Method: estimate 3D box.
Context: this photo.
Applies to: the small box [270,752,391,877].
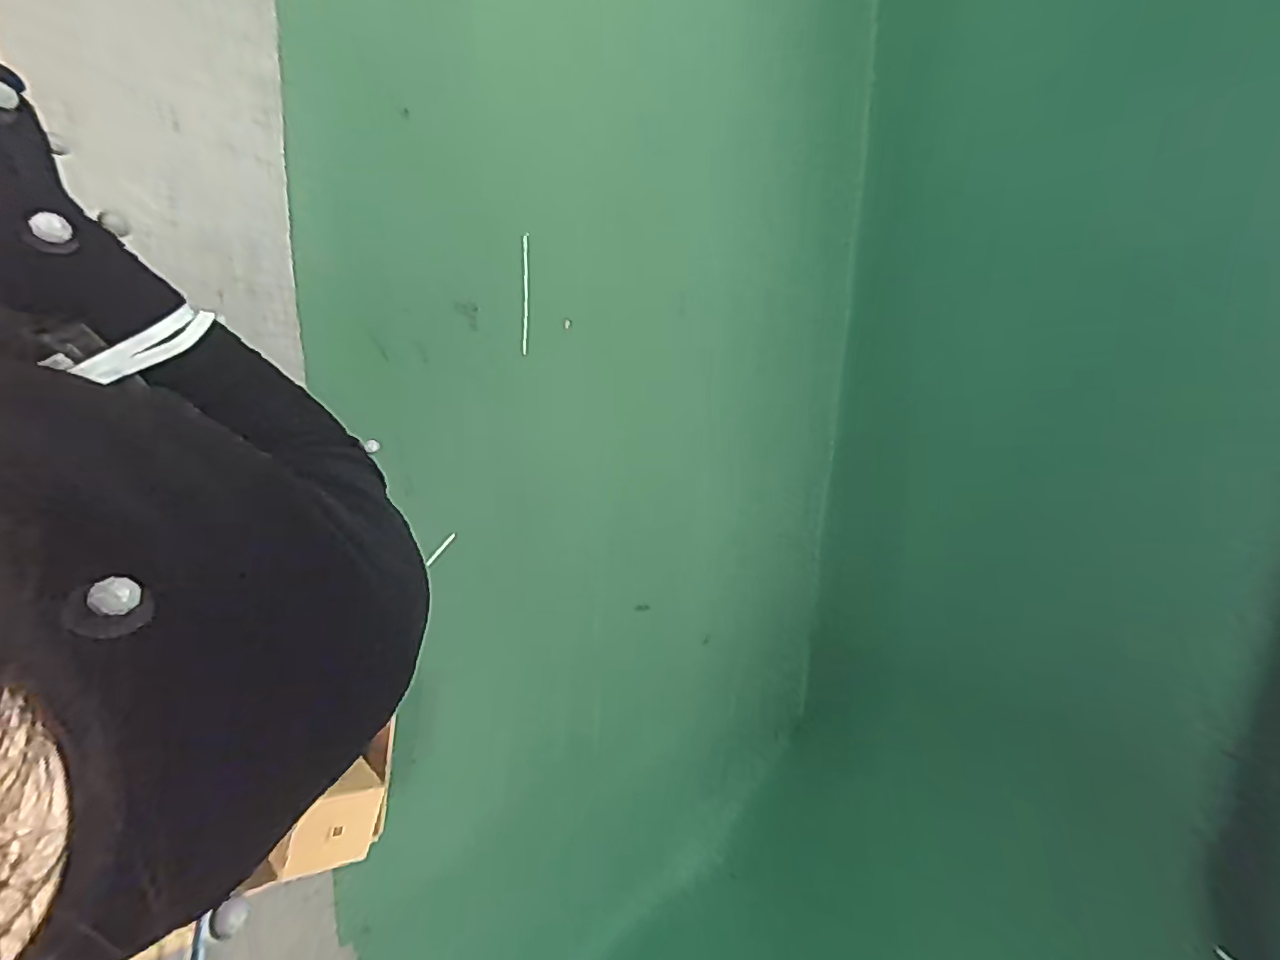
[{"bbox_3d":[-0.703,0.741,1.225,0.179,0.176,0.168,18,86,-44],"label":"small box"}]
